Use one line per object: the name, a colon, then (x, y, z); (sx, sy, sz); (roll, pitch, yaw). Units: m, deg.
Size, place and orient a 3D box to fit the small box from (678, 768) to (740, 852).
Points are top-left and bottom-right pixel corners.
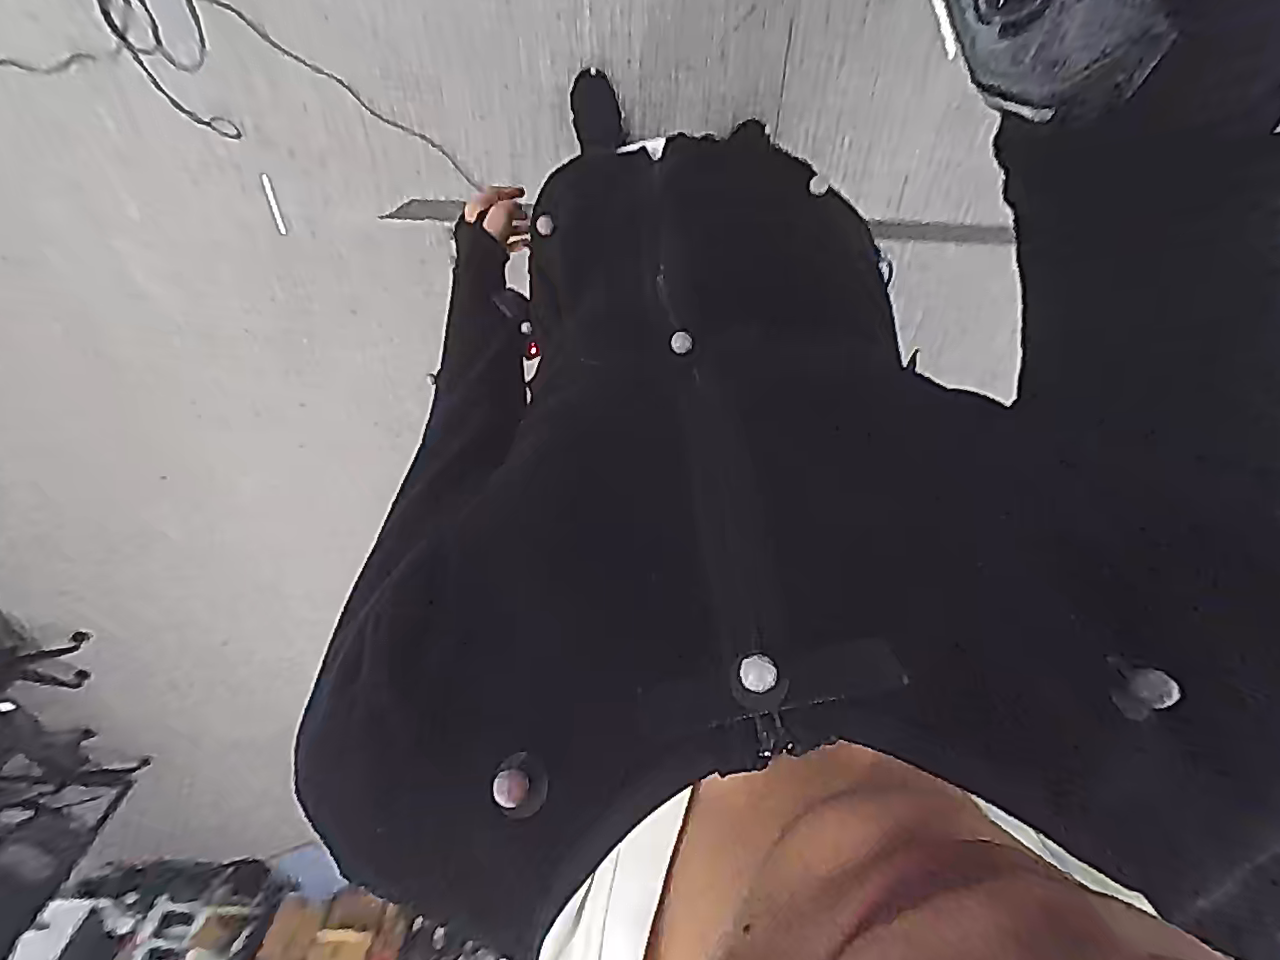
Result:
small box: (0.203, 1.006, 1.649); (0.168, 0.176, 0.179); (0, 127, 0)
